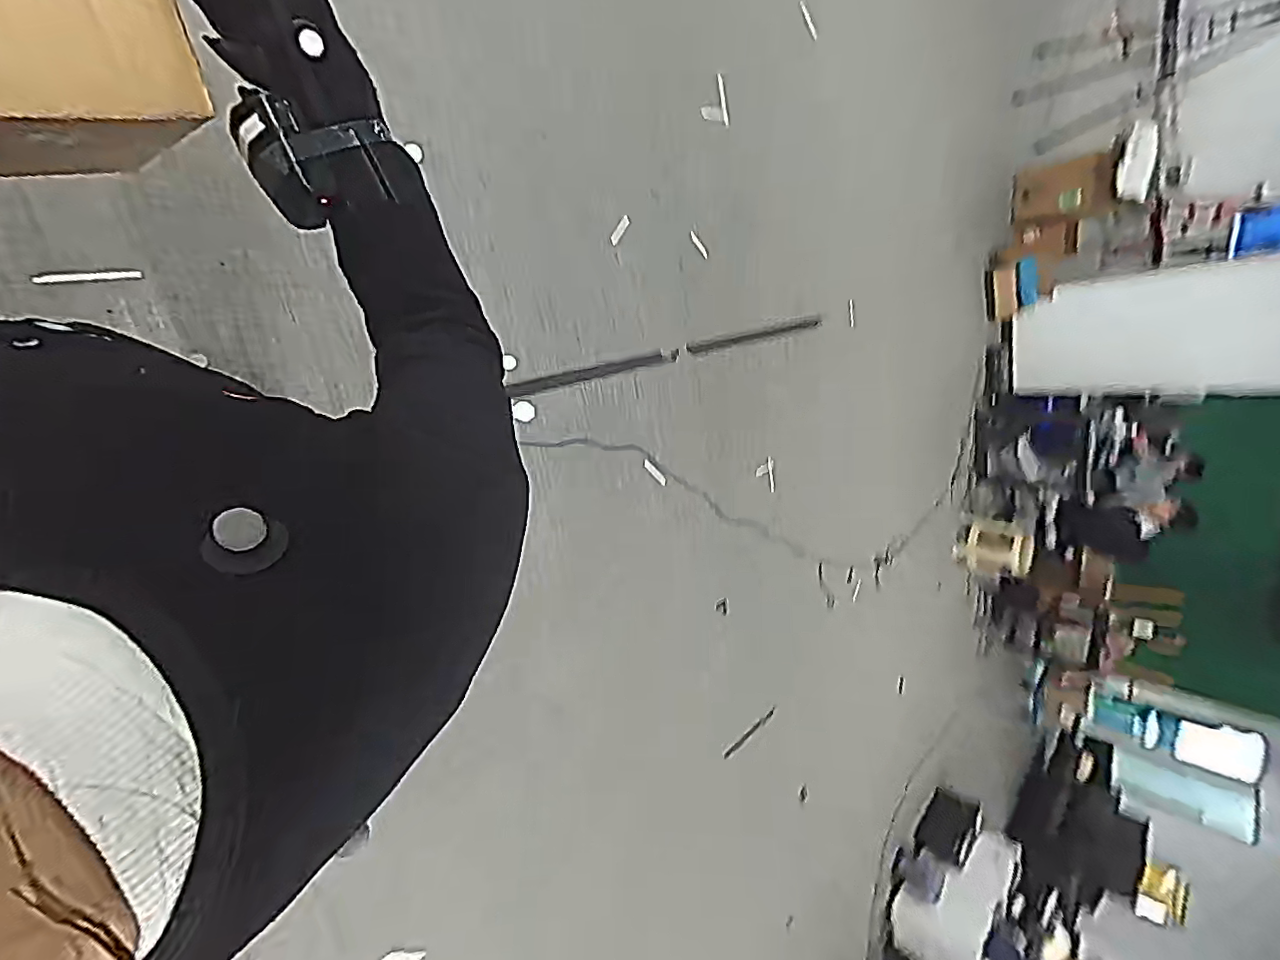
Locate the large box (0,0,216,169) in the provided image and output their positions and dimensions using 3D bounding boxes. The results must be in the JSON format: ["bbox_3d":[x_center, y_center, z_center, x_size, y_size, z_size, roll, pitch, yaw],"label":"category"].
[{"bbox_3d":[-0.514,-0.316,0.229,0.408,0.320,0.320,-31,128,-40],"label":"large box"}]
